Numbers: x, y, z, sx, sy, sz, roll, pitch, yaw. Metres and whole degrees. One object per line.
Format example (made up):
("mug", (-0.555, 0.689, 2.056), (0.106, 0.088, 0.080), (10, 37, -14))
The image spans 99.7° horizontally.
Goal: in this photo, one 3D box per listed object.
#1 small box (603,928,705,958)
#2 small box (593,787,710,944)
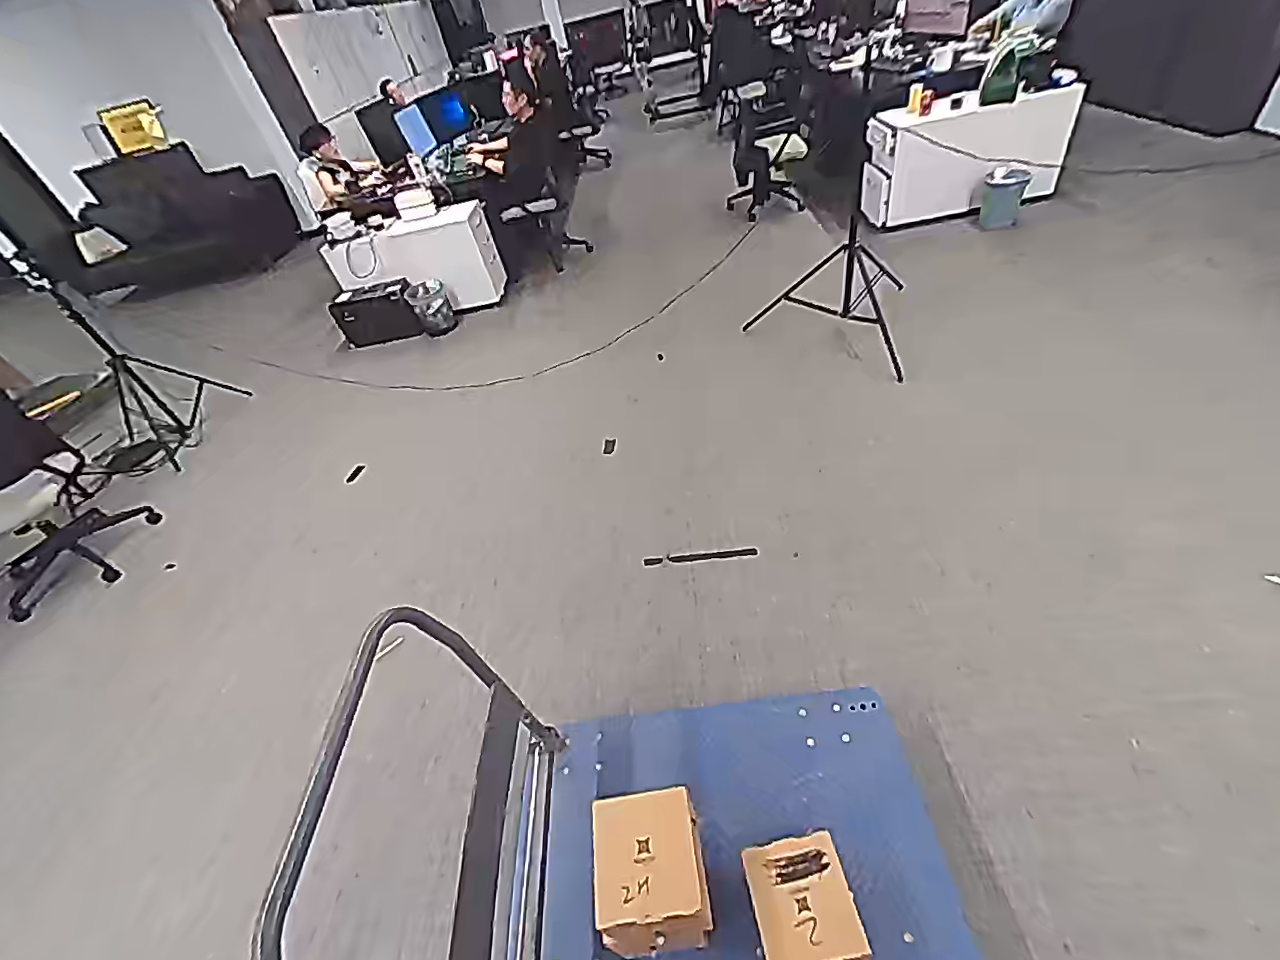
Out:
("small box", (0.024, 0.776, 1.029), (0.168, 0.176, 0.179), (-12, 43, 3))
("small box", (0.019, 0.654, 0.916), (0.168, 0.176, 0.179), (-12, 43, 3))
